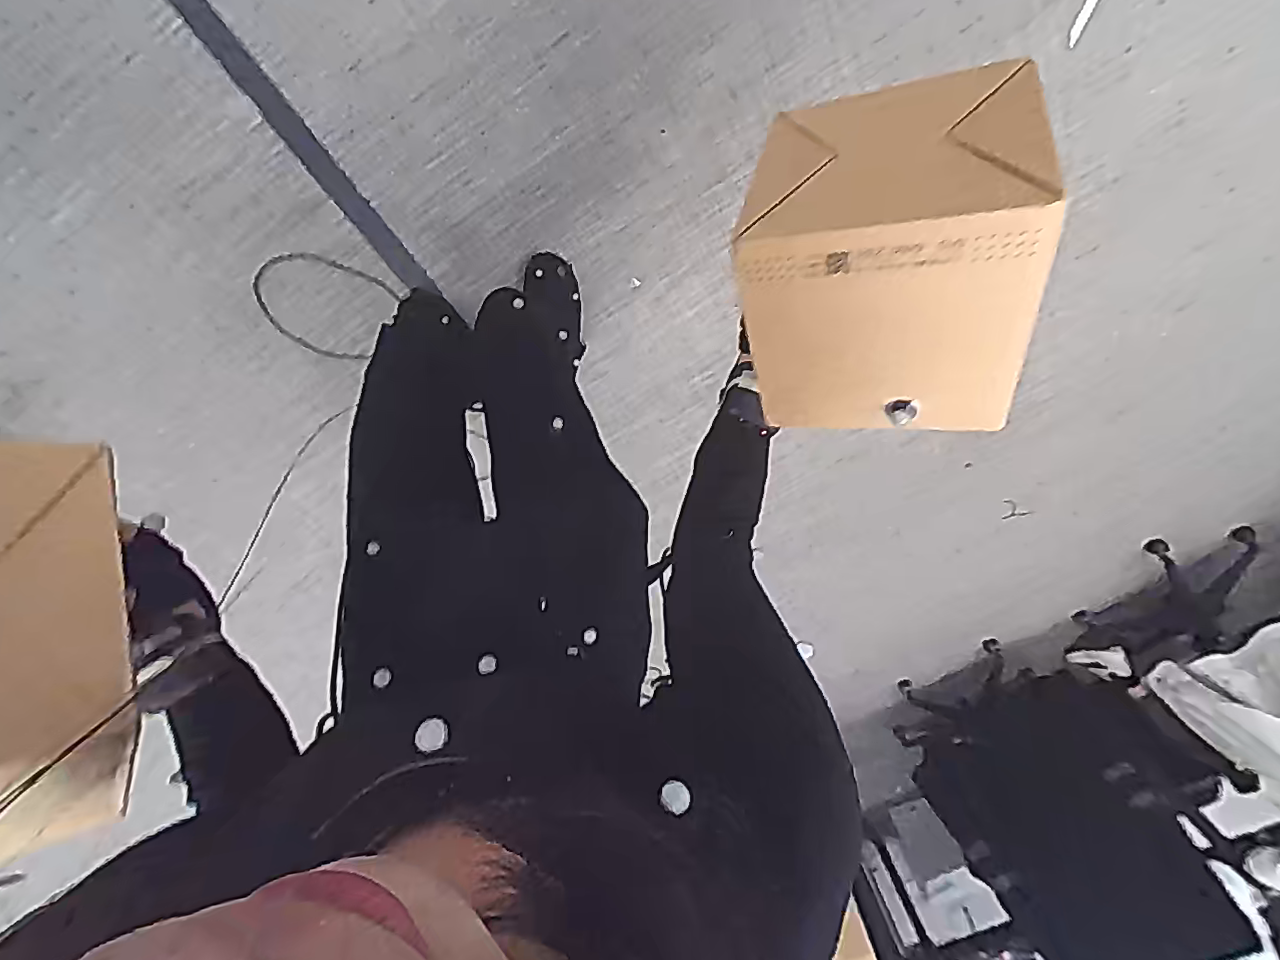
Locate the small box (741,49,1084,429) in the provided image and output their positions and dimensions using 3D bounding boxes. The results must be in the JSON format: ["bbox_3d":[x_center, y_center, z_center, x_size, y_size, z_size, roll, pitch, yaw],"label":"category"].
[{"bbox_3d":[0.177,-0.156,0.375,0.168,0.179,0.176,3,146,26],"label":"small box"}]

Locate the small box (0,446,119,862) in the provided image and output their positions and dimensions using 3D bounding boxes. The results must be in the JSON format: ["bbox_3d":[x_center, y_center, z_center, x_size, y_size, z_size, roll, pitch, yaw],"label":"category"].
[{"bbox_3d":[-0.374,0.097,0.263,0.168,0.179,0.176,-4,145,-45],"label":"small box"}]
